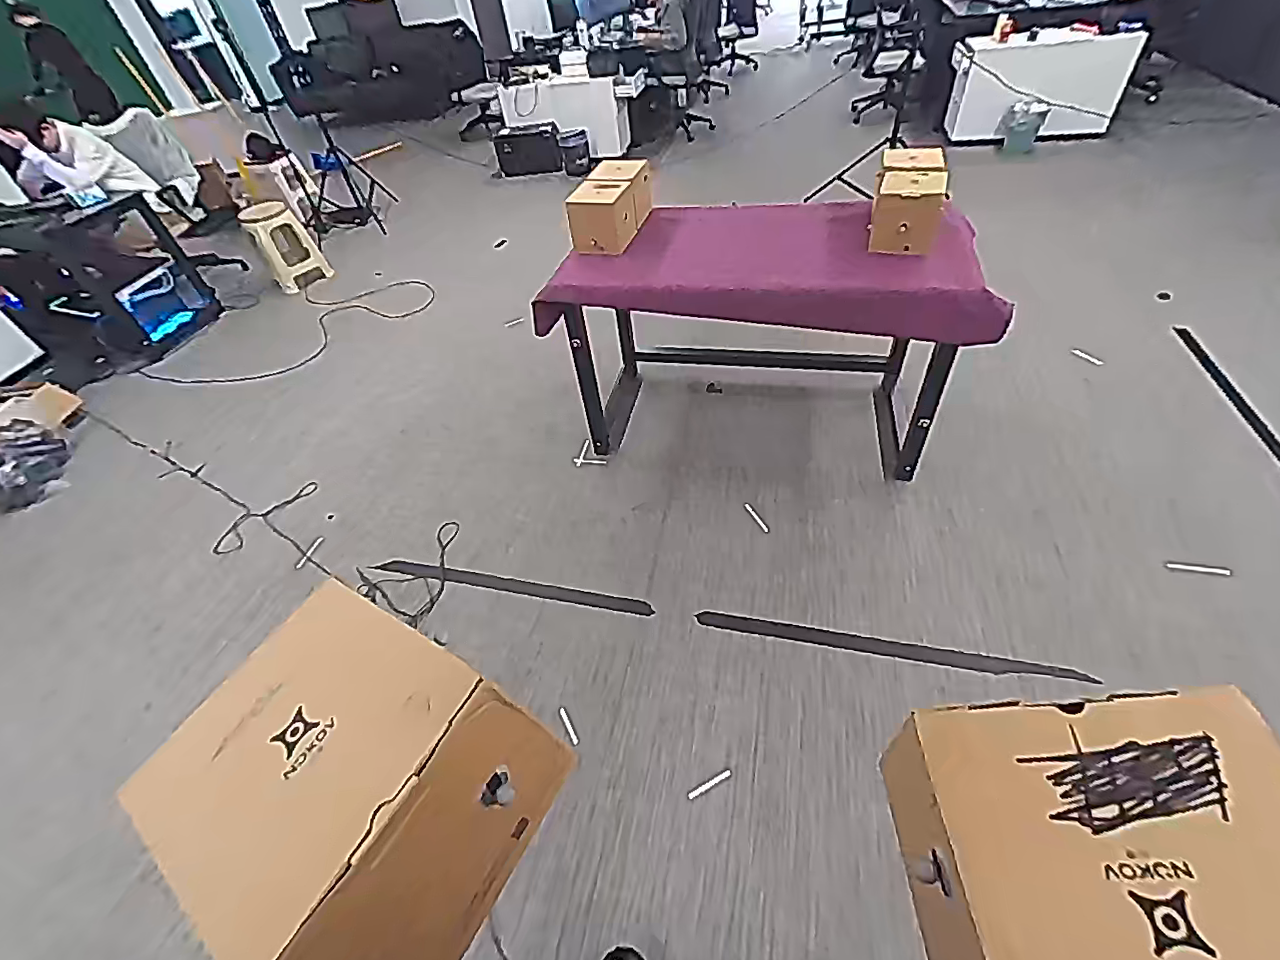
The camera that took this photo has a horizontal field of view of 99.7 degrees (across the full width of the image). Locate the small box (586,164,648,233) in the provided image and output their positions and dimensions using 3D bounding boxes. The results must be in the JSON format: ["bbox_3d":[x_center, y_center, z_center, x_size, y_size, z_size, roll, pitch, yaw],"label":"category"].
[{"bbox_3d":[-0.072,-0.988,1.894,0.168,0.176,0.179,9,49,16],"label":"small box"}]

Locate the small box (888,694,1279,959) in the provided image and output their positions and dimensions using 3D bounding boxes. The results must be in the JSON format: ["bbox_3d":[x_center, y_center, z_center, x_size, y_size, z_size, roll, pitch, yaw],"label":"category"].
[{"bbox_3d":[0.258,0.240,0.312,0.168,0.176,0.179,-9,53,10],"label":"small box"}]

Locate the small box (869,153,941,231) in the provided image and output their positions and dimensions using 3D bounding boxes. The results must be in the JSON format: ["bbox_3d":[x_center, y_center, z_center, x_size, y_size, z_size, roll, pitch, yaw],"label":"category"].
[{"bbox_3d":[0.817,-0.896,1.680,0.168,0.176,0.179,9,48,16],"label":"small box"}]

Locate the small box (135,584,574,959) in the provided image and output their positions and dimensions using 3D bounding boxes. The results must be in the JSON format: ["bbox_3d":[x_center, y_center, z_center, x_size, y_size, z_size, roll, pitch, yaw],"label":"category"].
[{"bbox_3d":[-0.174,0.207,0.379,0.179,0.176,0.168,16,55,31],"label":"small box"}]
